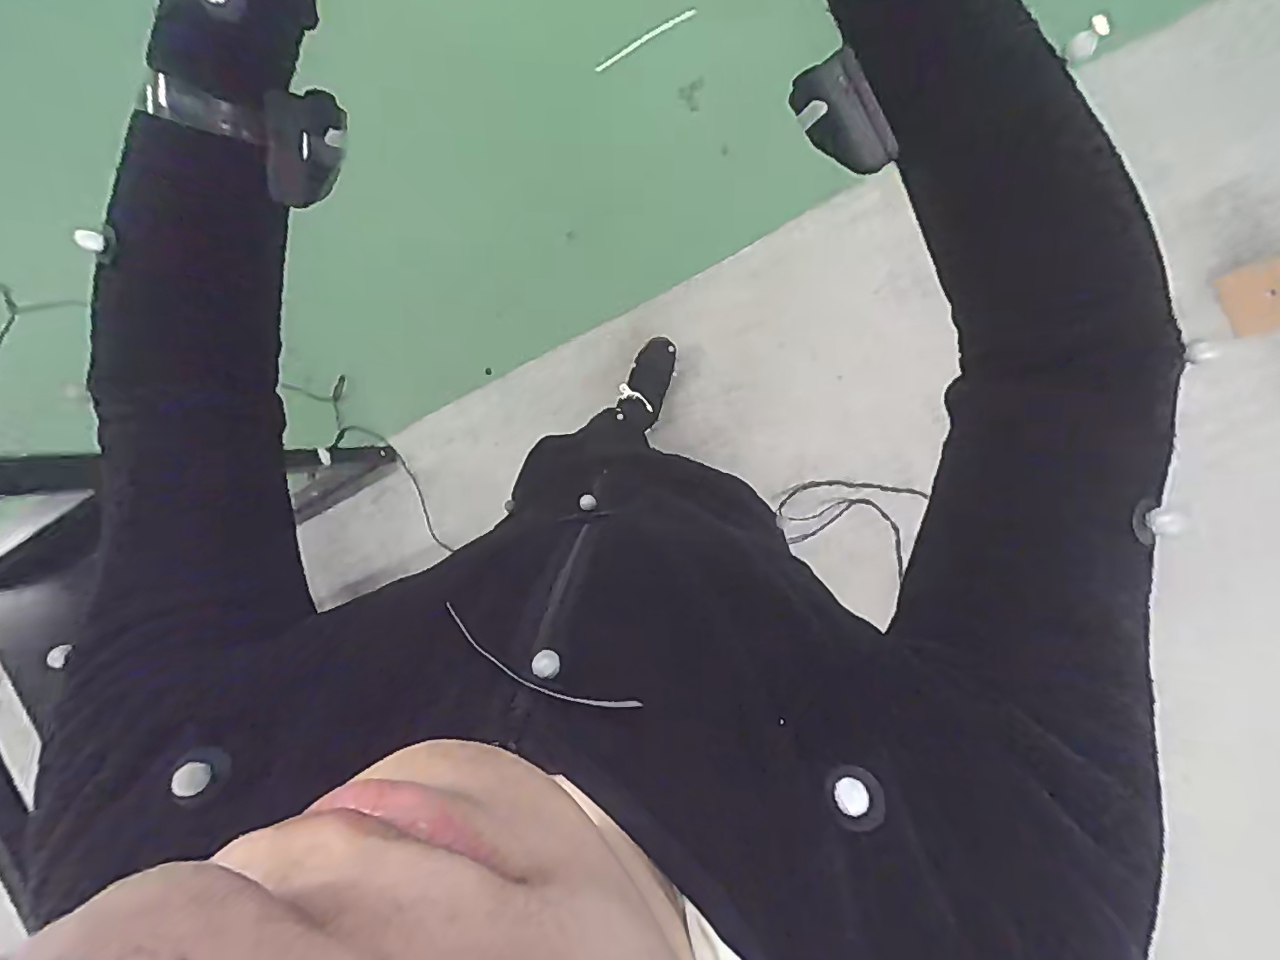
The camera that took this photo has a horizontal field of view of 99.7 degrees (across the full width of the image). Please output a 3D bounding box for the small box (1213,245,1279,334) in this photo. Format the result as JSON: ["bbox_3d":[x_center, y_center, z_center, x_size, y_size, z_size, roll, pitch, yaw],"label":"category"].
[{"bbox_3d":[1.554,-0.474,1.293,0.168,0.176,0.179,-26,90,9],"label":"small box"}]
